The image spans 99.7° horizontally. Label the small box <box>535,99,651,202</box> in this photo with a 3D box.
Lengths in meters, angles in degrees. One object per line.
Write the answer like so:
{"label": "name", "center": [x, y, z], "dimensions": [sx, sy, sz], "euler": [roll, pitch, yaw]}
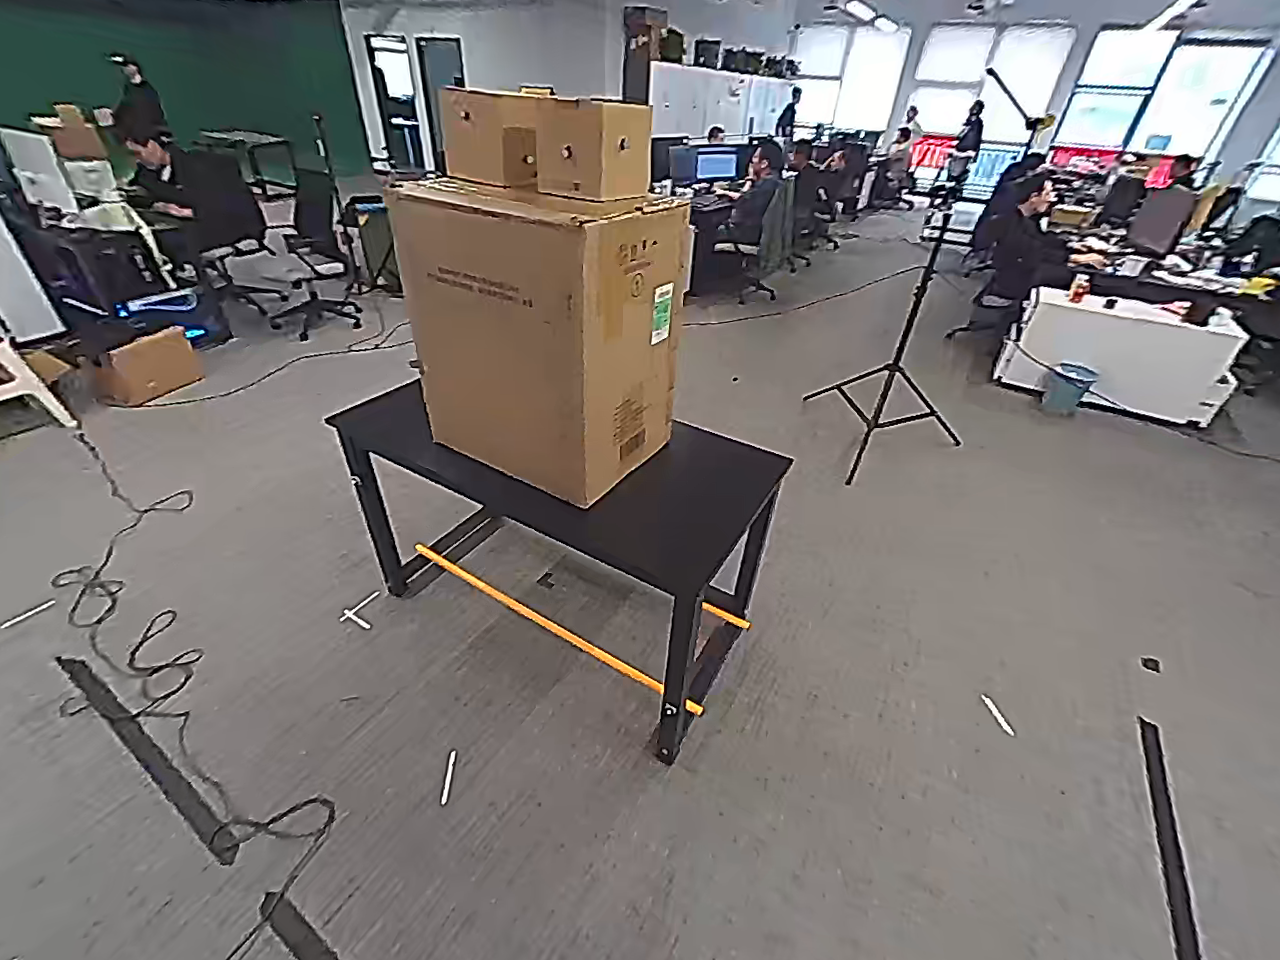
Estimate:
{"label": "small box", "center": [-0.092, -0.675, 1.108], "dimensions": [0.168, 0.176, 0.179], "euler": [22, 39, 25]}

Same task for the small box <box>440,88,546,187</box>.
{"label": "small box", "center": [-0.315, -0.761, 1.206], "dimensions": [0.179, 0.176, 0.168], "euler": [23, 39, 22]}
